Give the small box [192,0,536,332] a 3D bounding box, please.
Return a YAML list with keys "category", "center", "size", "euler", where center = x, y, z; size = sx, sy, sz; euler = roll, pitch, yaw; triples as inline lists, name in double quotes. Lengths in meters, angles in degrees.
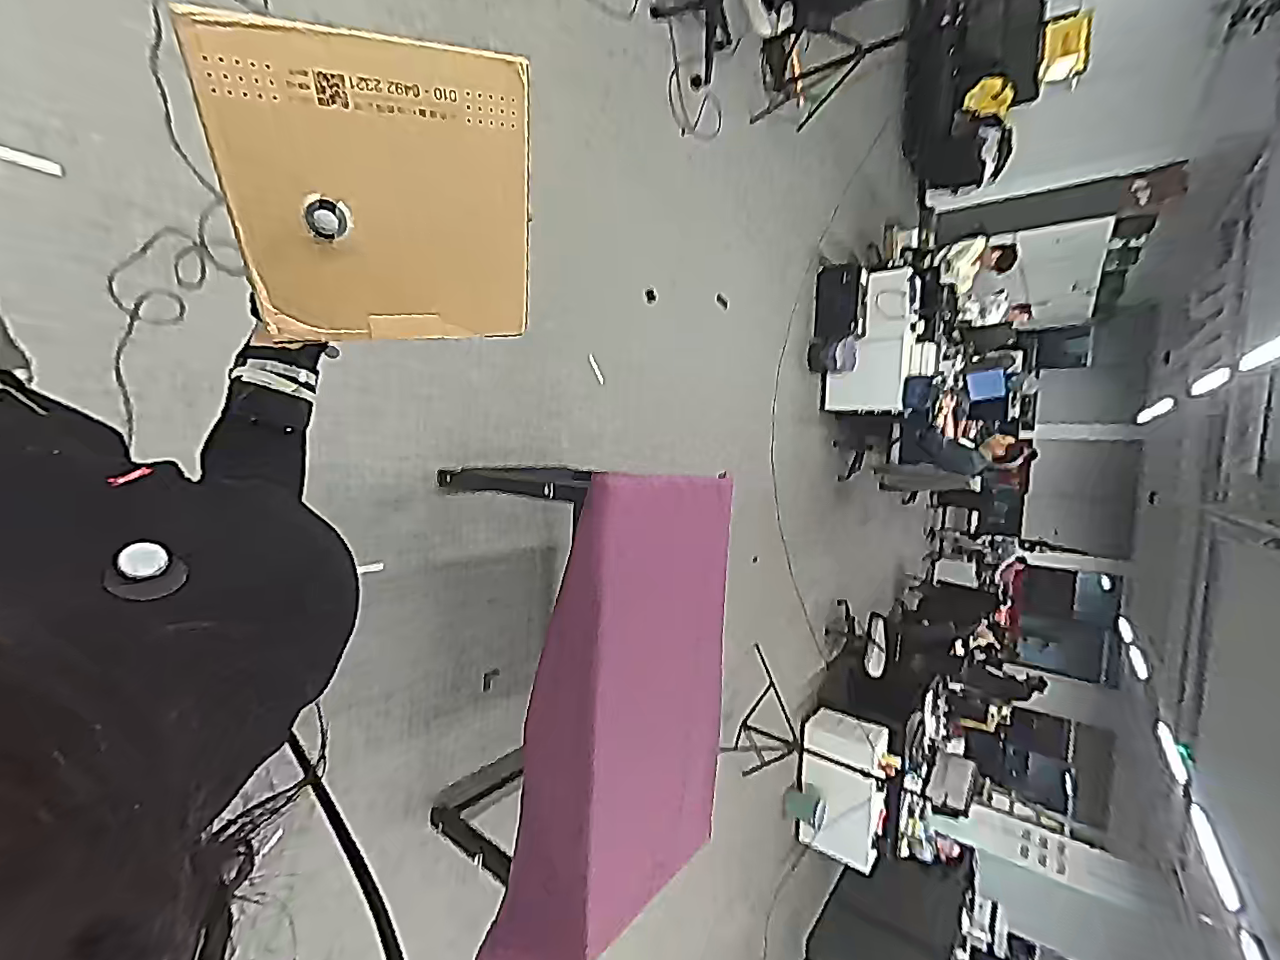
- category: "small box"
  center: [-0.173, -0.217, 0.373]
  size: [0.168, 0.179, 0.176]
  euler: [-8, 131, -24]
